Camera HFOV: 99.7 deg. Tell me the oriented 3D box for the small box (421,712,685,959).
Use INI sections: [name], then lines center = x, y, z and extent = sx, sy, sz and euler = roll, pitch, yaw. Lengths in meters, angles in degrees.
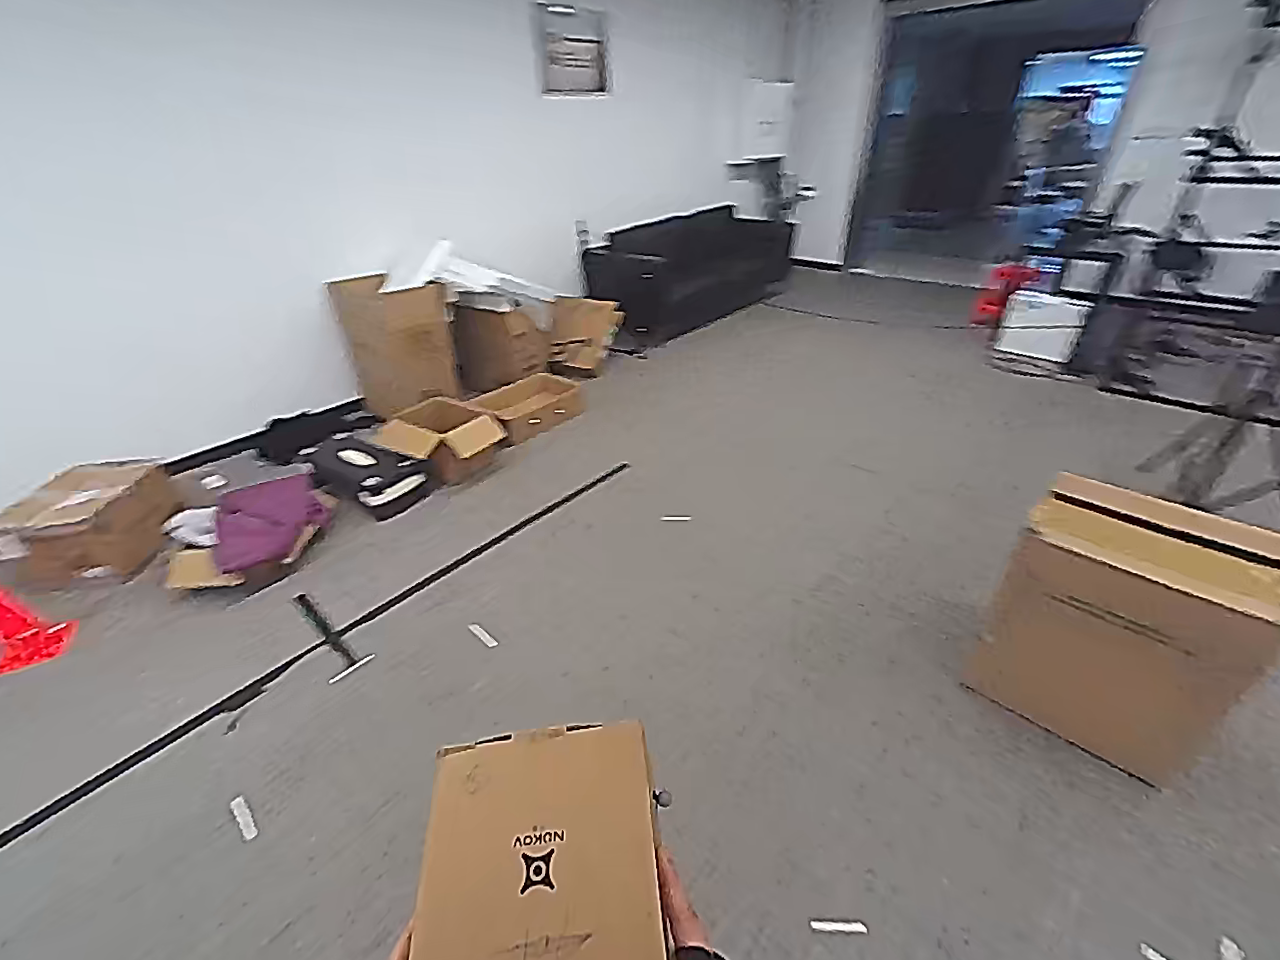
[small box]
center = -0.056, 0.313, 0.438
extent = 0.168, 0.176, 0.179
euler = -8, 48, 1
